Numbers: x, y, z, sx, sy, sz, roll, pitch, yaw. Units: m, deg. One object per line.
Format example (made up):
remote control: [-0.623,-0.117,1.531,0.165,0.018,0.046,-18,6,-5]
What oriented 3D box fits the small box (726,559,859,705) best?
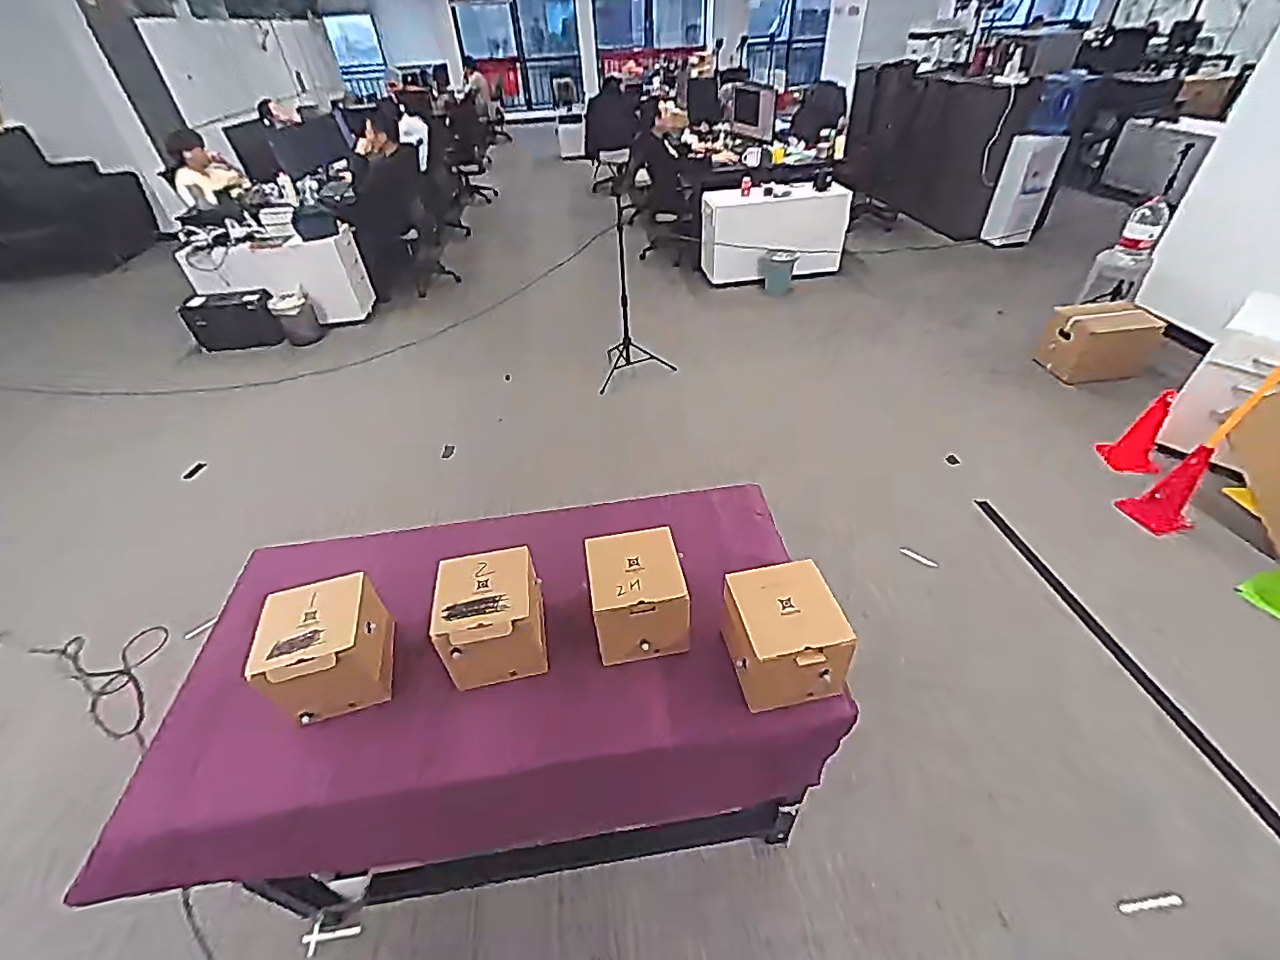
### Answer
small box: [0.252,0.268,0.937,0.168,0.176,0.179,-9,40,-6]

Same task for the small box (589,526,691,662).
small box: [-0.003,0.214,1.020,0.168,0.176,0.179,-8,41,-4]

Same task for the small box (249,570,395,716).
small box: [-0.552,0.296,0.967,0.168,0.176,0.179,-13,41,-11]
